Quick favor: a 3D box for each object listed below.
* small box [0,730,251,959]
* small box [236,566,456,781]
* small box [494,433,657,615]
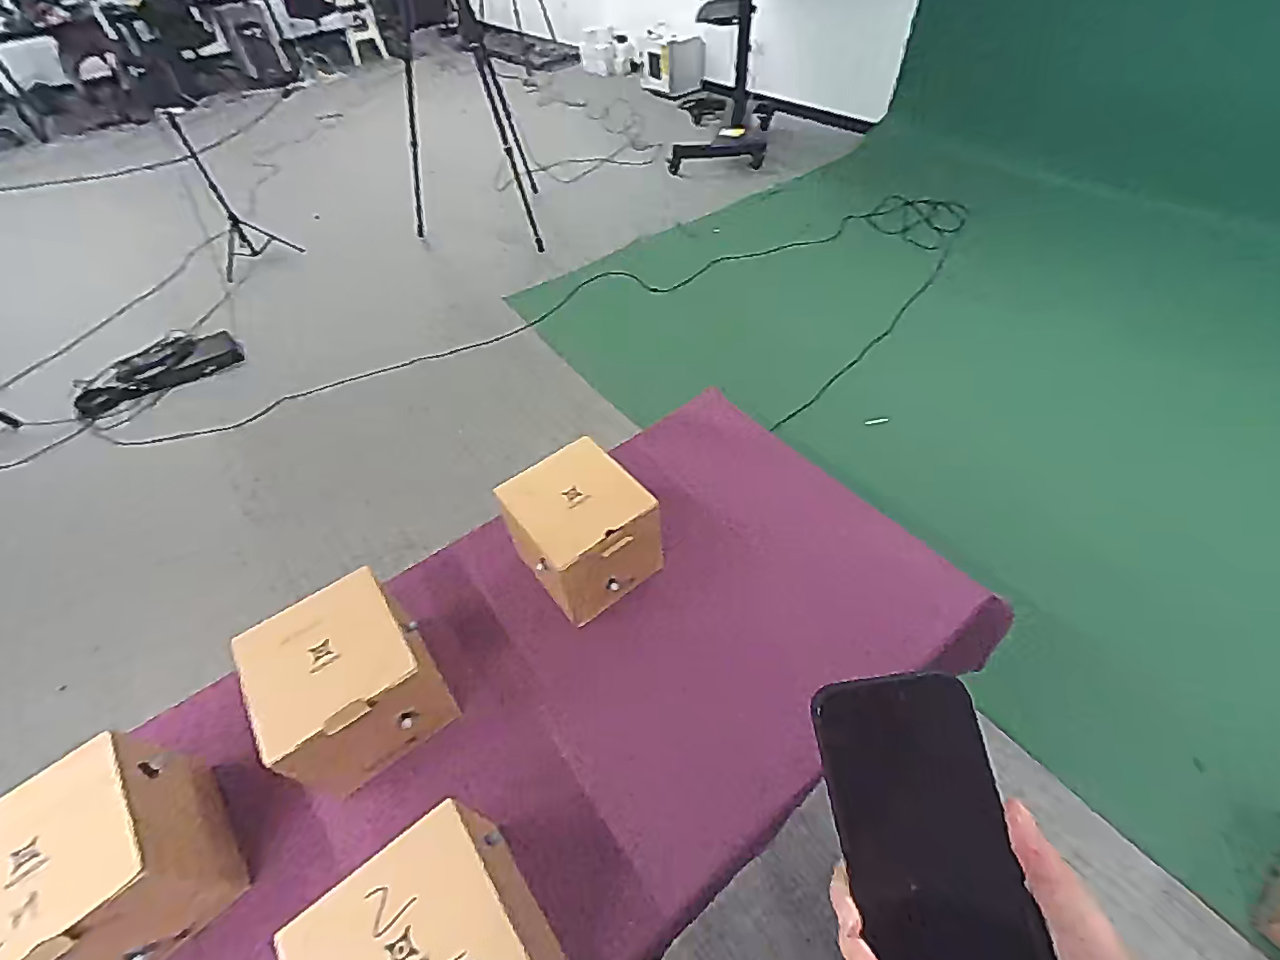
[{"bbox_3d":[-0.561,0.408,0.567,0.168,0.176,0.179,-38,57,-23],"label":"small box"},{"bbox_3d":[-0.359,0.250,0.684,0.168,0.176,0.179,-32,55,-21],"label":"small box"},{"bbox_3d":[-0.090,0.068,0.812,0.168,0.176,0.179,-34,56,-21],"label":"small box"}]
